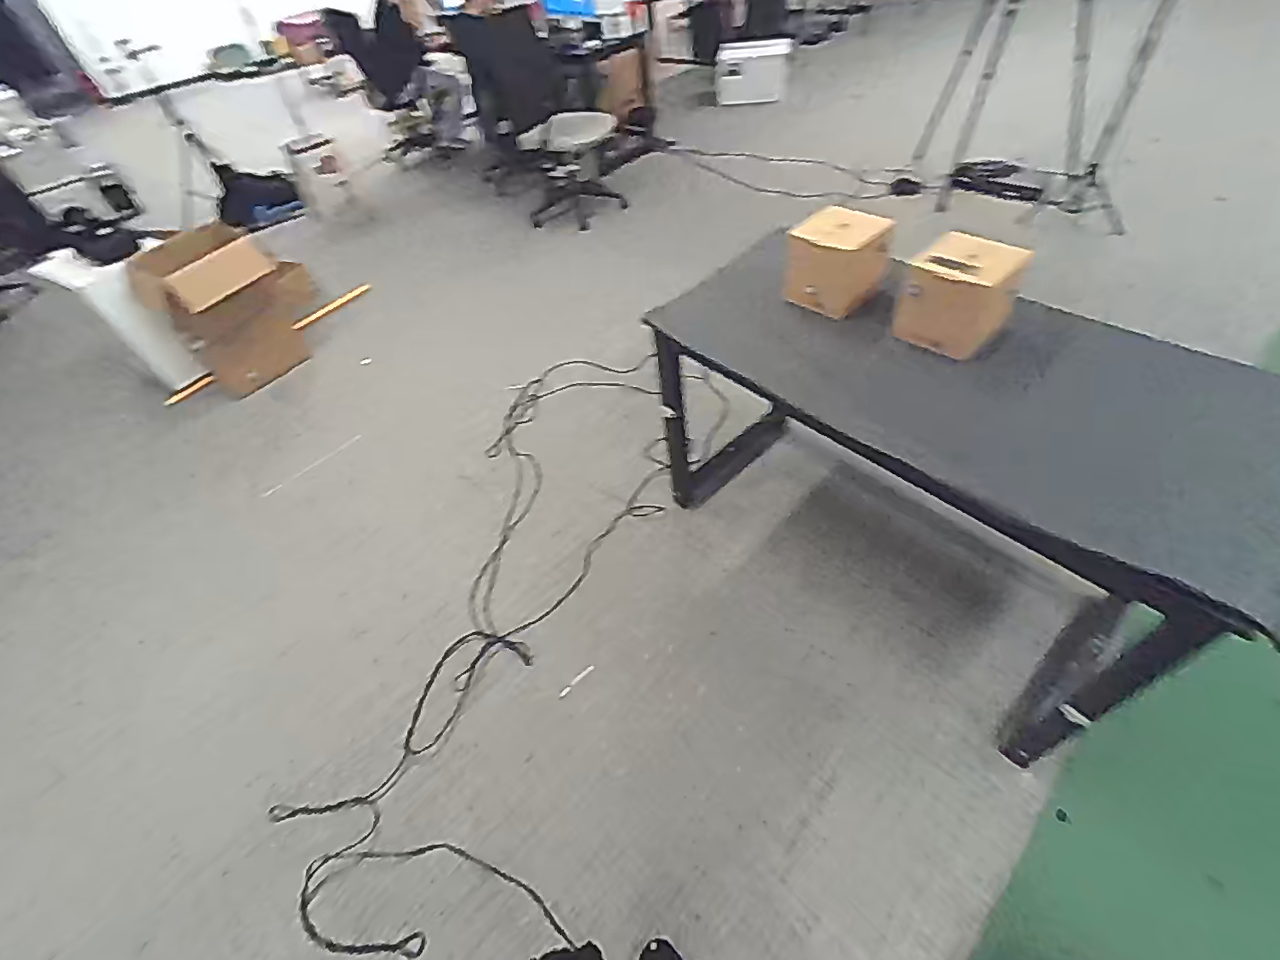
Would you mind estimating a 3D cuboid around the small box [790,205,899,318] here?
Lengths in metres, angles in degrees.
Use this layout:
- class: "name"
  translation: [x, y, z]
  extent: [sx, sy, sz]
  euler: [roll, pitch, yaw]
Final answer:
- class: "small box"
  translation: [0.470, -0.512, 1.272]
  extent: [0.179, 0.176, 0.168]
  euler: [-38, 54, -22]
